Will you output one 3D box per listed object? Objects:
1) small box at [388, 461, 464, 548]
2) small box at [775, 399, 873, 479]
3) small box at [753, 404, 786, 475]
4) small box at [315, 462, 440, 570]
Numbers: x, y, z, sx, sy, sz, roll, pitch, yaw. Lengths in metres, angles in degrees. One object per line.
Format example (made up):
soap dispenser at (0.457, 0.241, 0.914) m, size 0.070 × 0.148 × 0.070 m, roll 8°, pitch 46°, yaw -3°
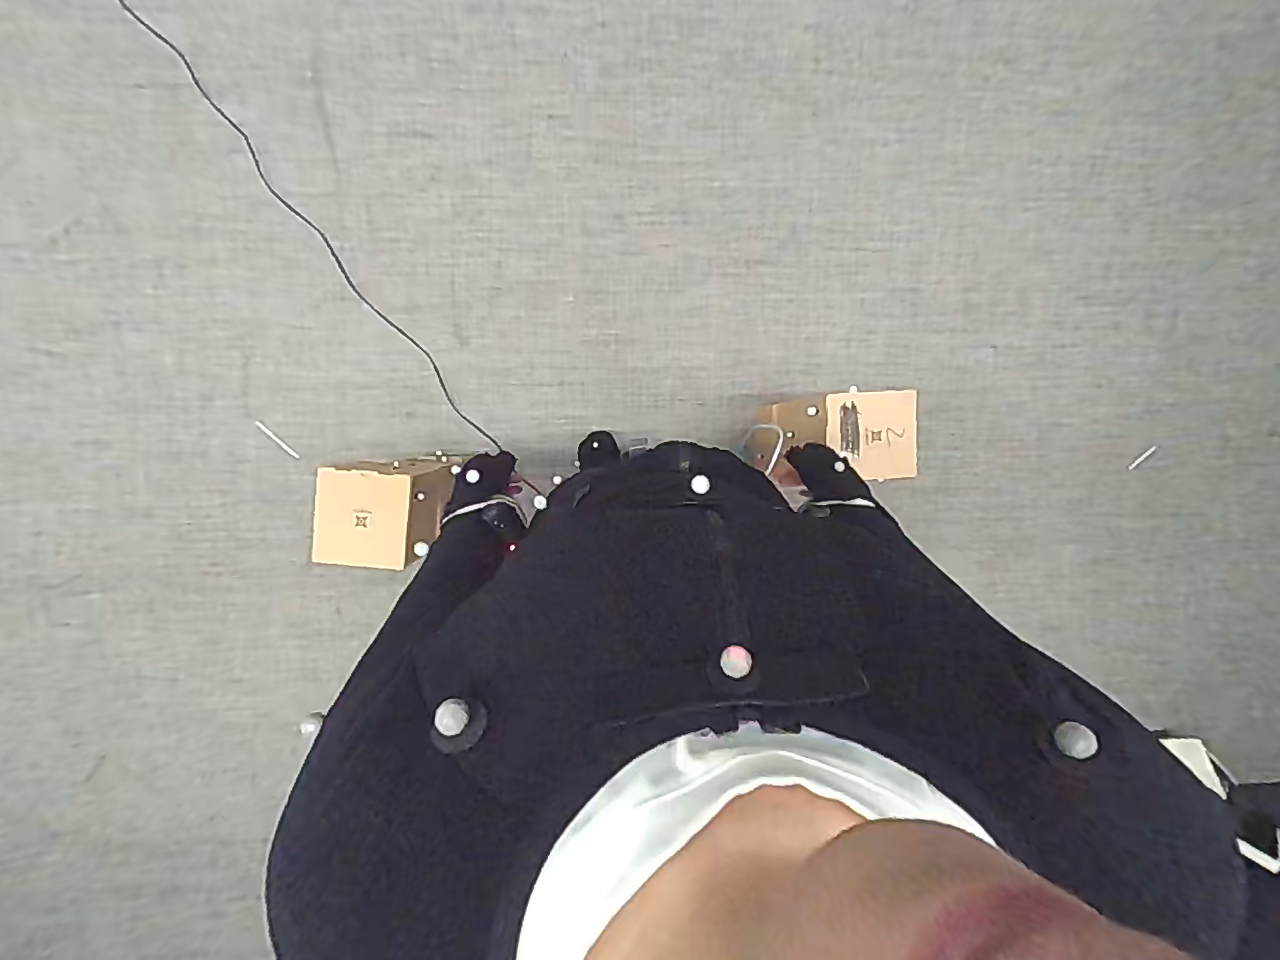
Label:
small box at (-0.502, 0.049, 1.215) m, size 0.168 × 0.176 × 0.179 m, roll 1°, pitch 96°, yaw -3°
small box at (0.420, -0.095, 1.257) m, size 0.168 × 0.176 × 0.179 m, roll 0°, pitch 95°, yaw -3°
small box at (0.399, -0.107, 1.419) m, size 0.168 × 0.176 × 0.179 m, roll 0°, pitch 95°, yaw -4°
small box at (-0.501, 0.063, 1.053) m, size 0.168 × 0.176 × 0.179 m, roll 6°, pitch 94°, yaw -4°
